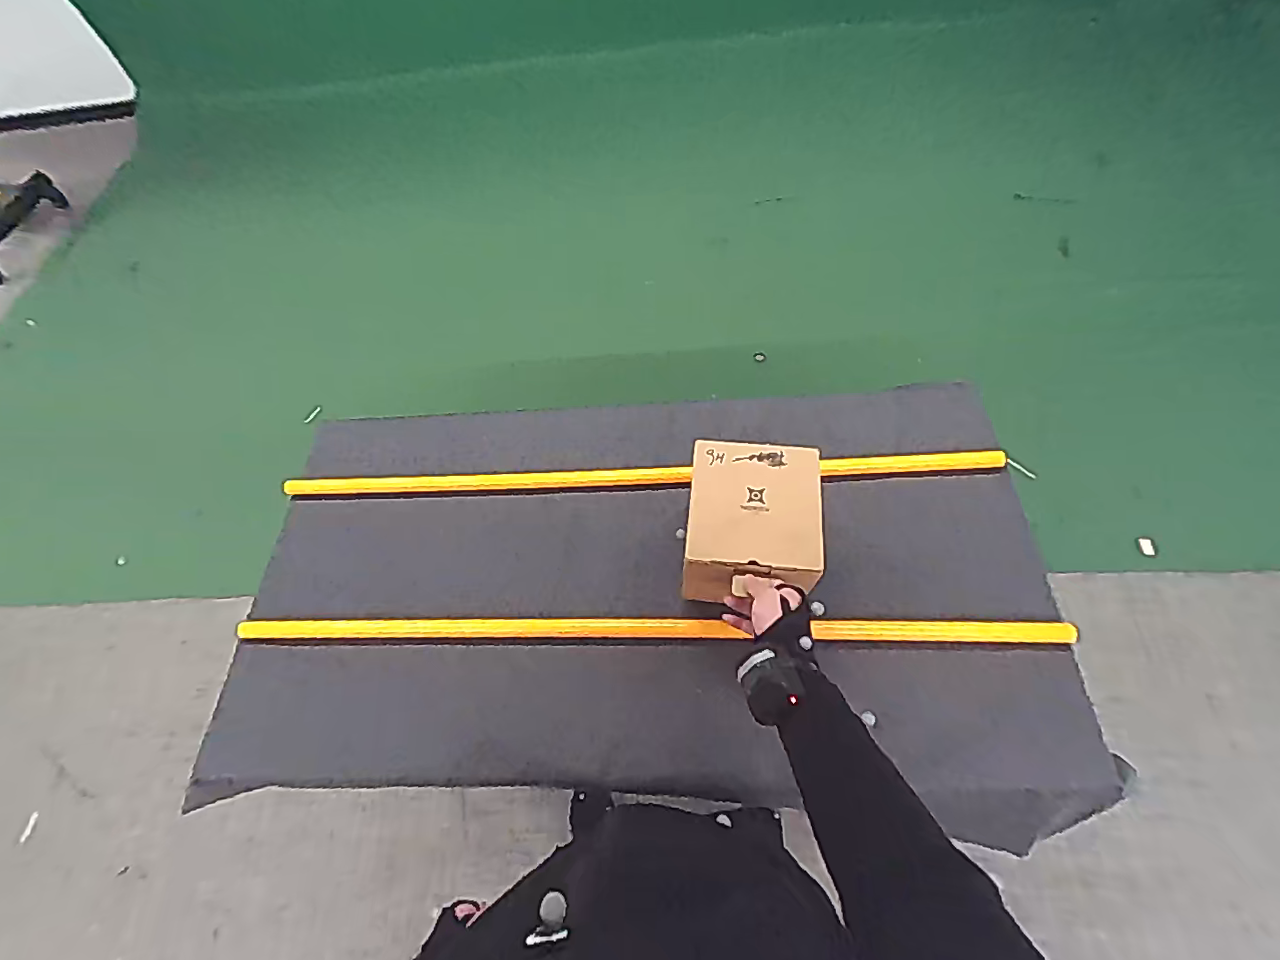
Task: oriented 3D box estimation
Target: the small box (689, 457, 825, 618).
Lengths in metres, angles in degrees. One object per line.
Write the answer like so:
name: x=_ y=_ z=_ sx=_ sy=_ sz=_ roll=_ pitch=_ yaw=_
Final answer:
small box: x=0.157 y=0.086 z=0.762 sx=0.168 sy=0.176 sz=0.179 roll=2 pitch=59 yaw=7
